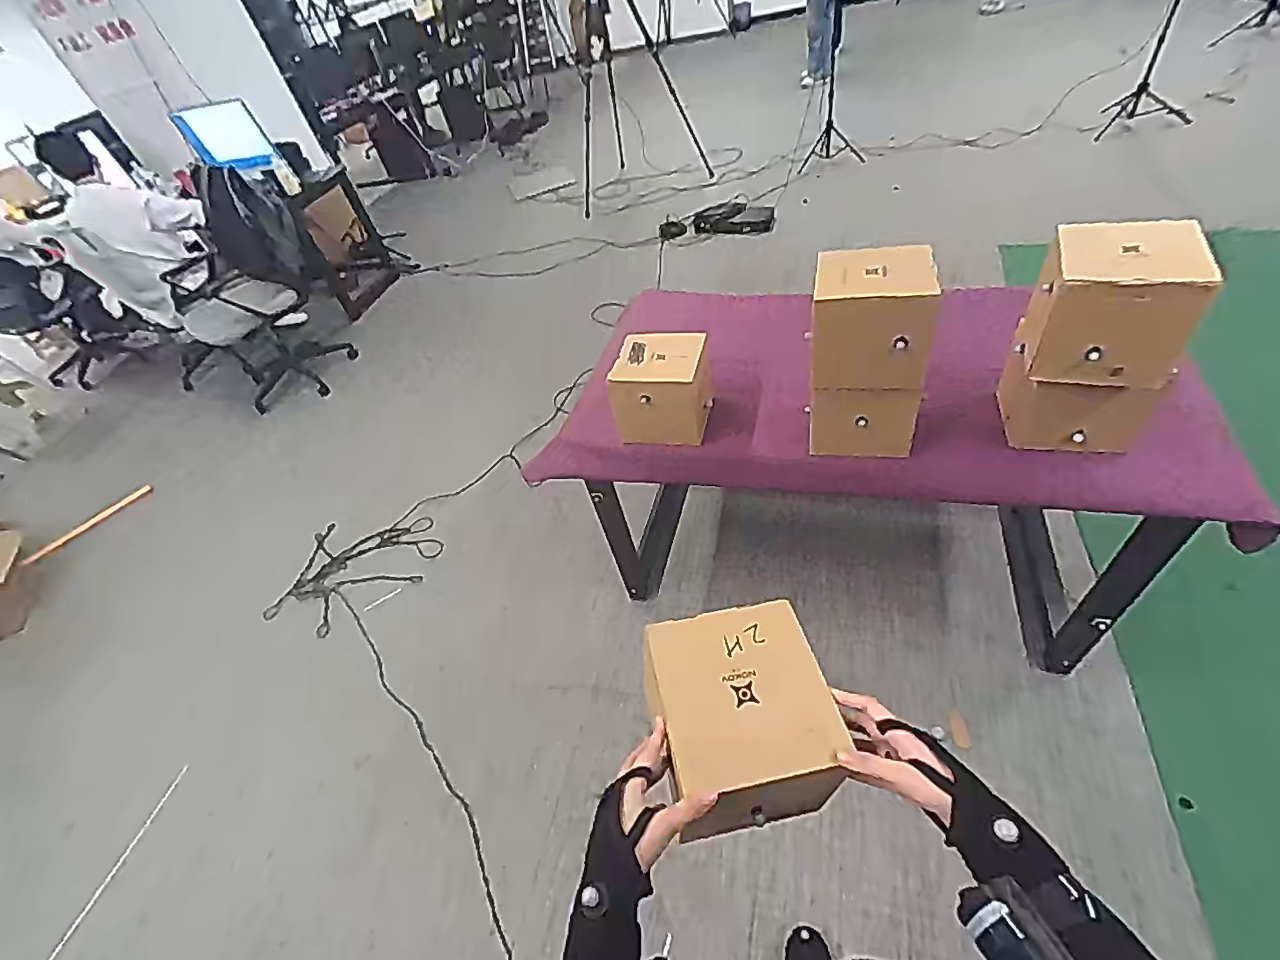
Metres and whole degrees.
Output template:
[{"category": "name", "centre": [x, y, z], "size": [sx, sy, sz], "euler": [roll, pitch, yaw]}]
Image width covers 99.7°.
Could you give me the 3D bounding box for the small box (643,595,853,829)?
[{"category": "small box", "centre": [0.100, 0.255, 0.587], "size": [0.168, 0.176, 0.179], "euler": [-8, 44, -7]}]

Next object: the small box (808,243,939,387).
[{"category": "small box", "centre": [0.377, -0.267, 0.892], "size": [0.179, 0.176, 0.168], "euler": [3, 46, 20]}]

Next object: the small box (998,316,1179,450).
[{"category": "small box", "centre": [0.743, -0.166, 0.922], "size": [0.179, 0.176, 0.168], "euler": [3, 47, 19]}]

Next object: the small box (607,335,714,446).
[{"category": "small box", "centre": [0.051, -0.187, 1.139], "size": [0.179, 0.176, 0.168], "euler": [4, 47, 18]}]

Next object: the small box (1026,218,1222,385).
[{"category": "small box", "centre": [0.691, -0.265, 0.801], "size": [0.168, 0.176, 0.179], "euler": [10, 51, 25]}]
